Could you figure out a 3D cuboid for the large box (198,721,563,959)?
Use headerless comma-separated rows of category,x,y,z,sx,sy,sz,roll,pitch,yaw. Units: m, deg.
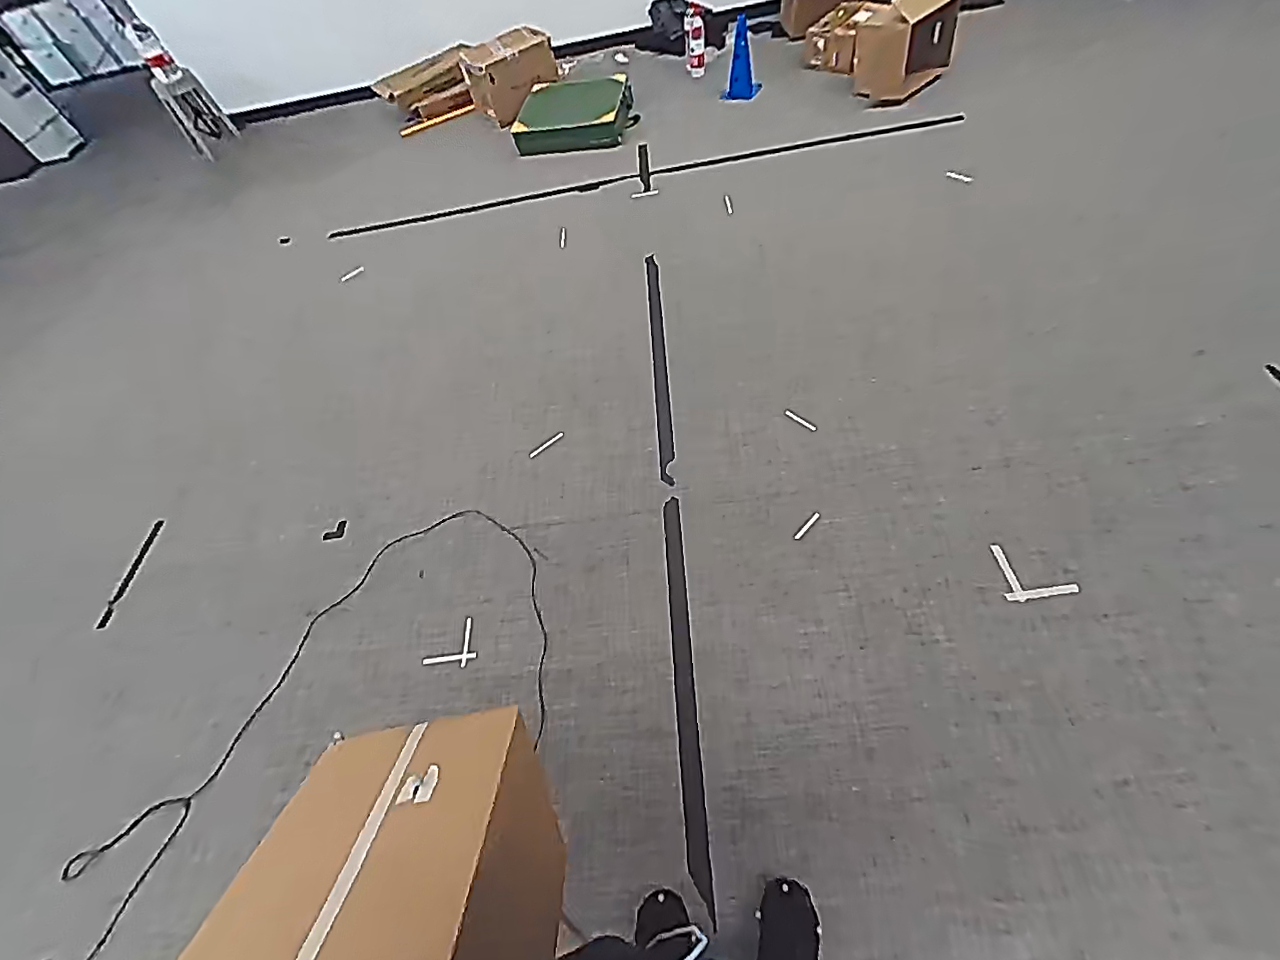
large box,-0.304,0.606,0.712,0.320,0.320,0.408,-11,15,2
